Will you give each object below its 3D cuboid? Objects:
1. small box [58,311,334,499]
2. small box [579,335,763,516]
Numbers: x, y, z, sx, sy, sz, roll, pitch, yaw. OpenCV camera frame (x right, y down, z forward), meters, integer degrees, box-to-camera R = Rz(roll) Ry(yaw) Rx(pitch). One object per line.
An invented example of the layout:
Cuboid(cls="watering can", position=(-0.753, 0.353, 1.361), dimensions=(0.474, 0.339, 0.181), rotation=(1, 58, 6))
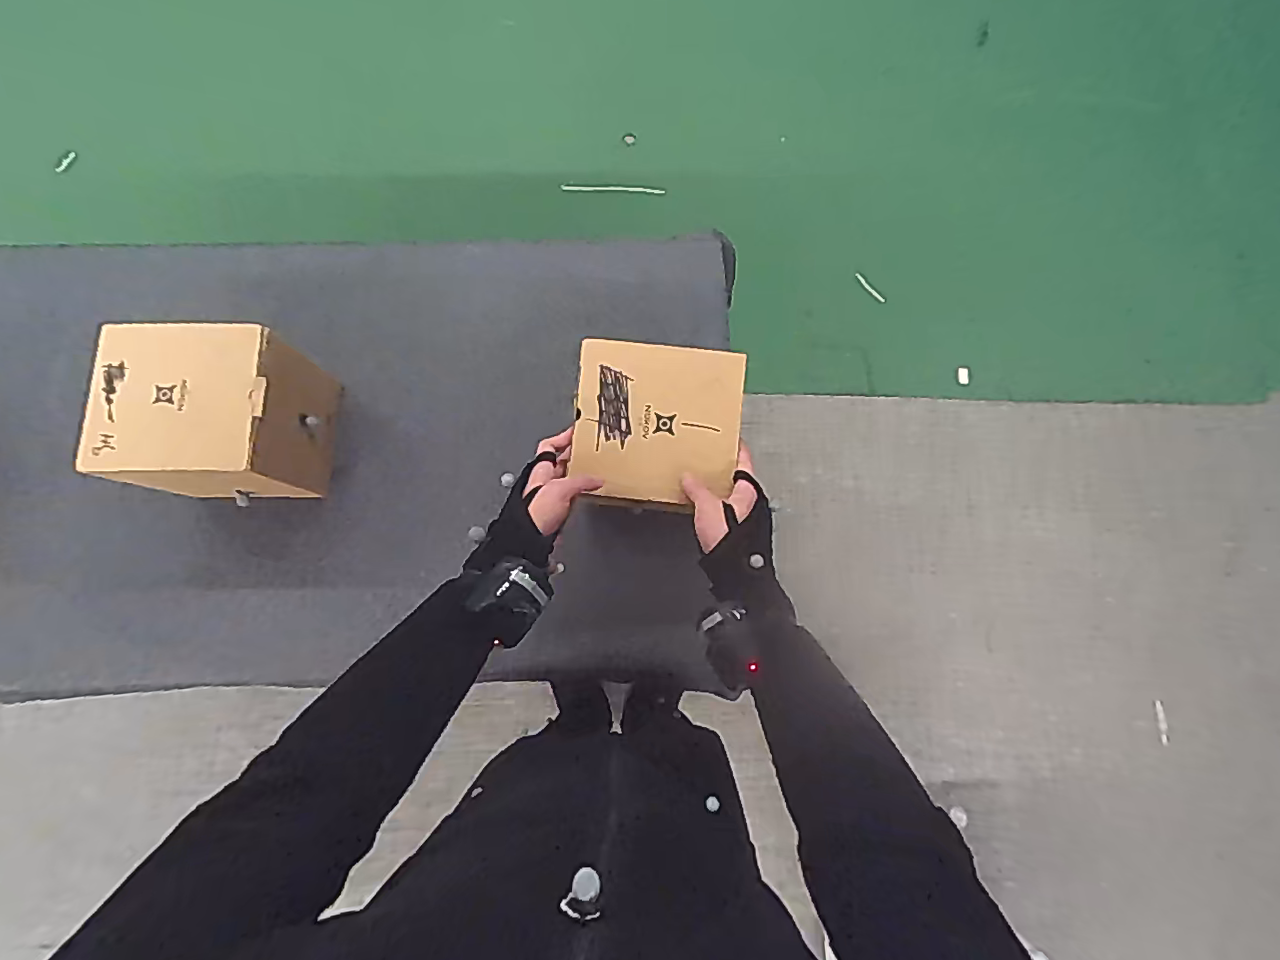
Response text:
Cuboid(cls="small box", position=(-0.482, -0.074, 0.622), dimensions=(0.179, 0.176, 0.168), rotation=(1, 77, -5))
Cuboid(cls="small box", position=(0.031, -0.050, 0.629), dimensions=(0.179, 0.176, 0.168), rotation=(7, 83, -2))
